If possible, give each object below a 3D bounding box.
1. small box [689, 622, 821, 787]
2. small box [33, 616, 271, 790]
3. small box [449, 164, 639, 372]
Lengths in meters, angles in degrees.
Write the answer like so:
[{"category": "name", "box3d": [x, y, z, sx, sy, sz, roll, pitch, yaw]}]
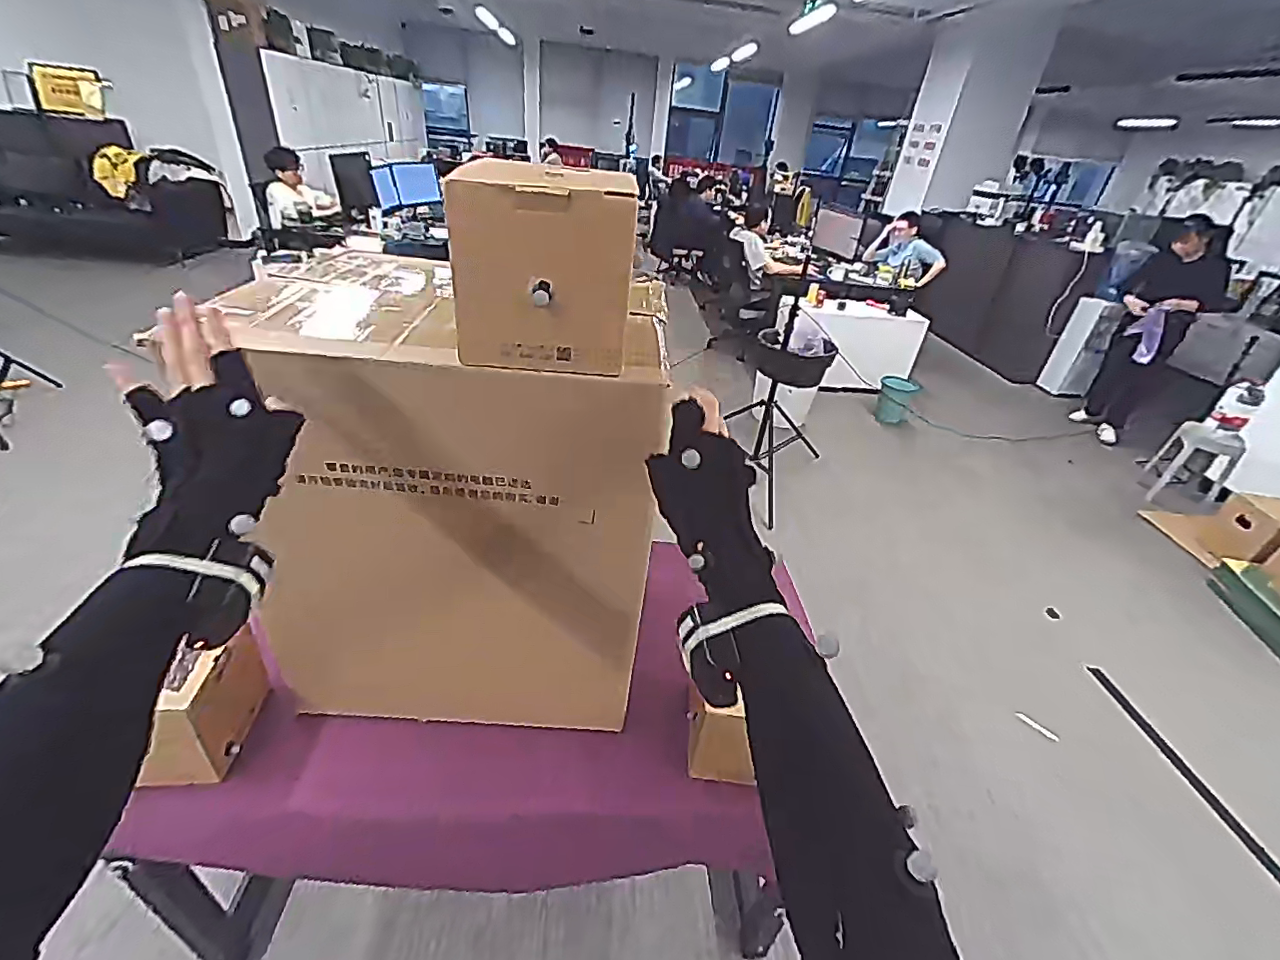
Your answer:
[{"category": "small box", "box3d": [0.174, 0.360, 0.870, 0.168, 0.176, 0.179, 8, 31, 0]}, {"category": "small box", "box3d": [-0.670, 0.316, 0.775, 0.179, 0.176, 0.168, 1, 31, -10]}, {"category": "small box", "box3d": [-0.090, -0.225, 0.573, 0.168, 0.176, 0.179, 3, 35, -5]}]
